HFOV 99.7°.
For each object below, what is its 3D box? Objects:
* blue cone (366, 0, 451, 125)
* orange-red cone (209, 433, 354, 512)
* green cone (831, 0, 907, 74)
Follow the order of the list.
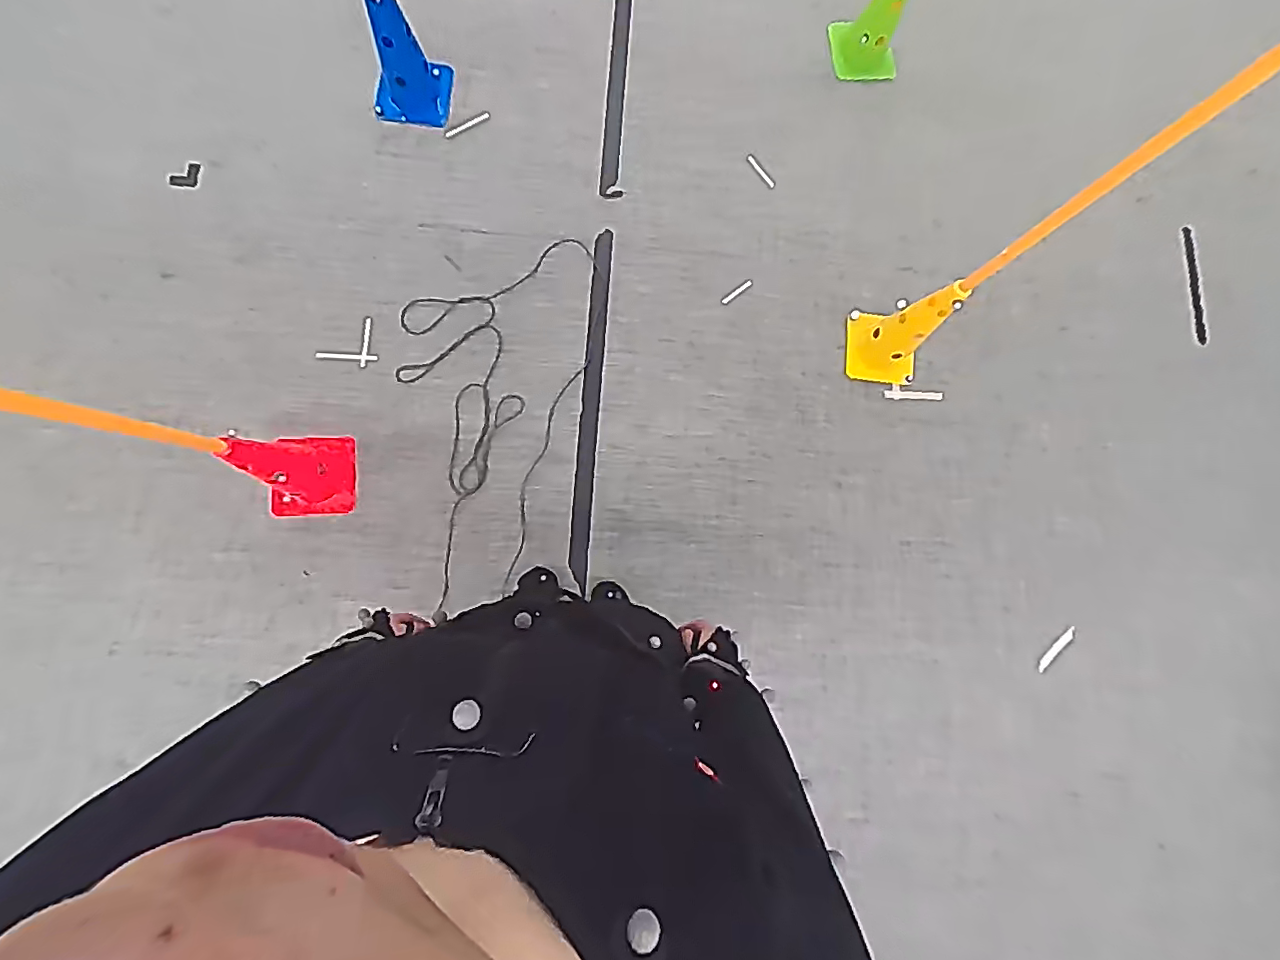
[{"bbox_3d":[-0.622,-1.123,1.366,0.193,0.380,0.192,7,82,-4],"label":"blue cone"},{"bbox_3d":[-0.798,-0.043,1.176,0.199,0.360,0.198,-1,82,-7],"label":"orange-red cone"},{"bbox_3d":[0.712,-1.375,1.508,0.200,0.368,0.202,-7,84,-6],"label":"green cone"}]
